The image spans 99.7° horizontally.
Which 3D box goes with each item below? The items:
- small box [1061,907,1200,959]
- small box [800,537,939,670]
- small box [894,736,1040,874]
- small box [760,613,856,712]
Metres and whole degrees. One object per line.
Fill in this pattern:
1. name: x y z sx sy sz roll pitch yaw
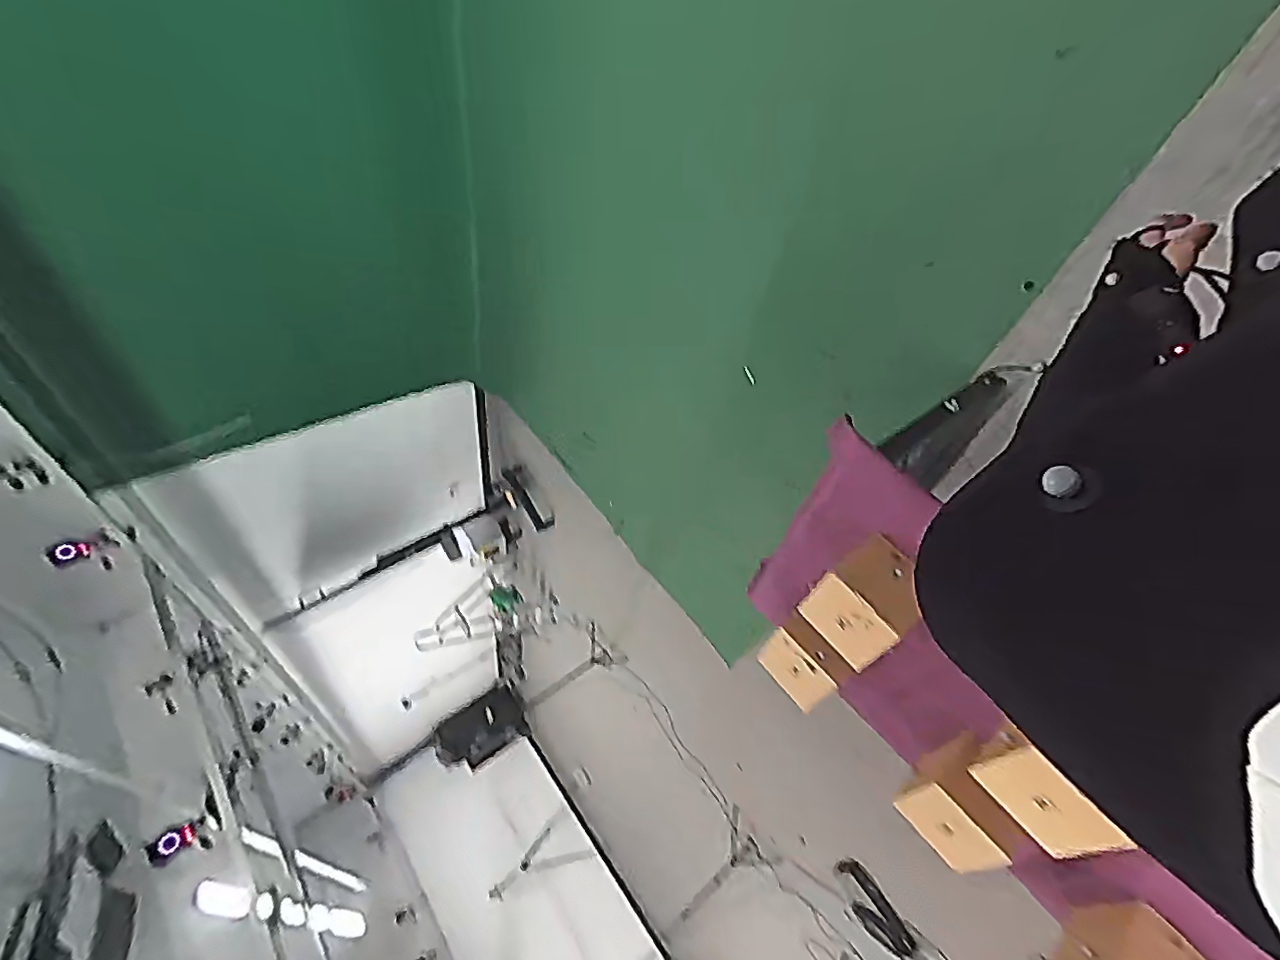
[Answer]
1. small box: 0.897 0.909 0.968 0.168 0.176 0.179 47 146 27
2. small box: 0.472 0.251 1.113 0.168 0.176 0.179 47 147 24
3. small box: 0.679 0.672 1.125 0.168 0.176 0.179 46 144 25
4. small box: 0.427 0.419 1.310 0.168 0.176 0.179 46 144 26
